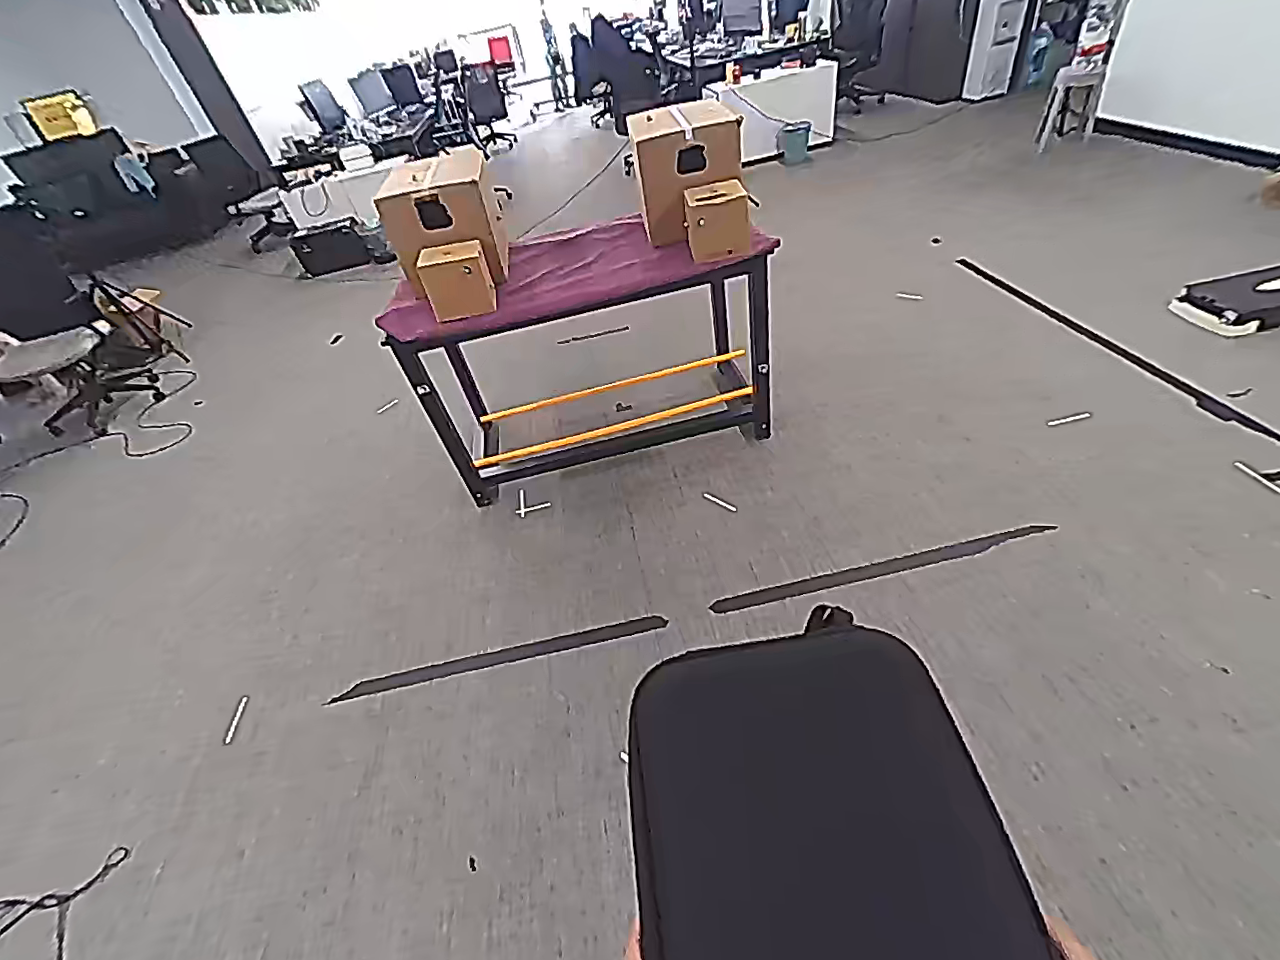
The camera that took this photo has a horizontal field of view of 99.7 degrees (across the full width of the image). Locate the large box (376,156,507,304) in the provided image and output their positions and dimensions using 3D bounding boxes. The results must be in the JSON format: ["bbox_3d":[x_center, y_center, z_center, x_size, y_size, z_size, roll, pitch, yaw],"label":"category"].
[{"bbox_3d":[-0.643,-0.848,1.822,0.320,0.320,0.408,-13,45,-2],"label":"large box"}]
